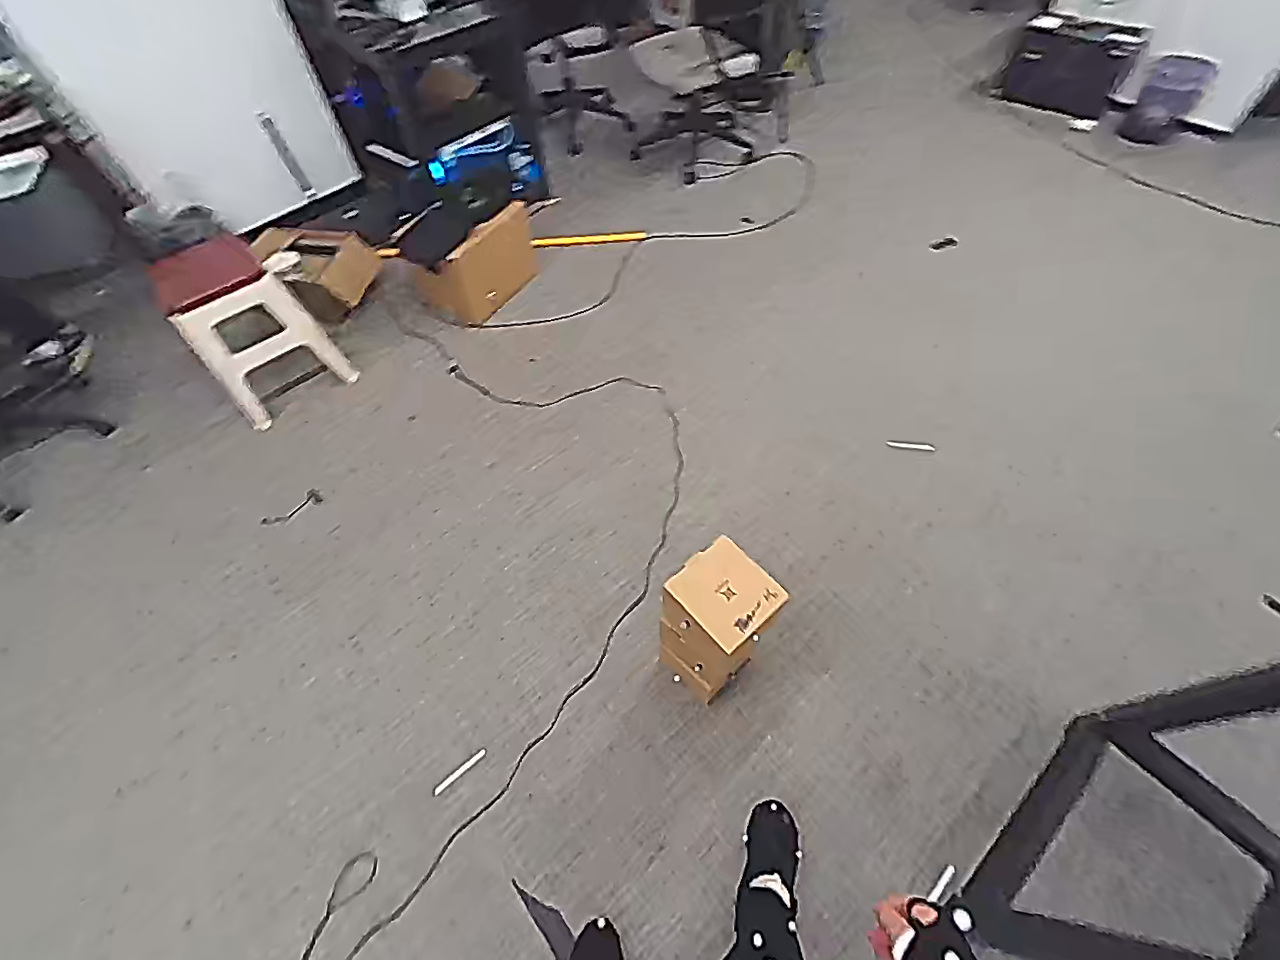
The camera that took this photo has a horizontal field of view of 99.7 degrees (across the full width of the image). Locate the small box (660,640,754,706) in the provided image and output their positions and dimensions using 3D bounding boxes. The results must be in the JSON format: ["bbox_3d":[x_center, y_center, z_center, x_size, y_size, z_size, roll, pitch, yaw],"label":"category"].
[{"bbox_3d":[0.166,0.431,1.352,0.179,0.176,0.168,-41,63,-21],"label":"small box"}]

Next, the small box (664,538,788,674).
[{"bbox_3d":[0.162,0.255,1.078,0.168,0.176,0.179,-37,62,-20],"label":"small box"}]

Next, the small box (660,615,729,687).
[{"bbox_3d":[0.161,0.336,1.221,0.168,0.176,0.179,36,64,22],"label":"small box"}]
